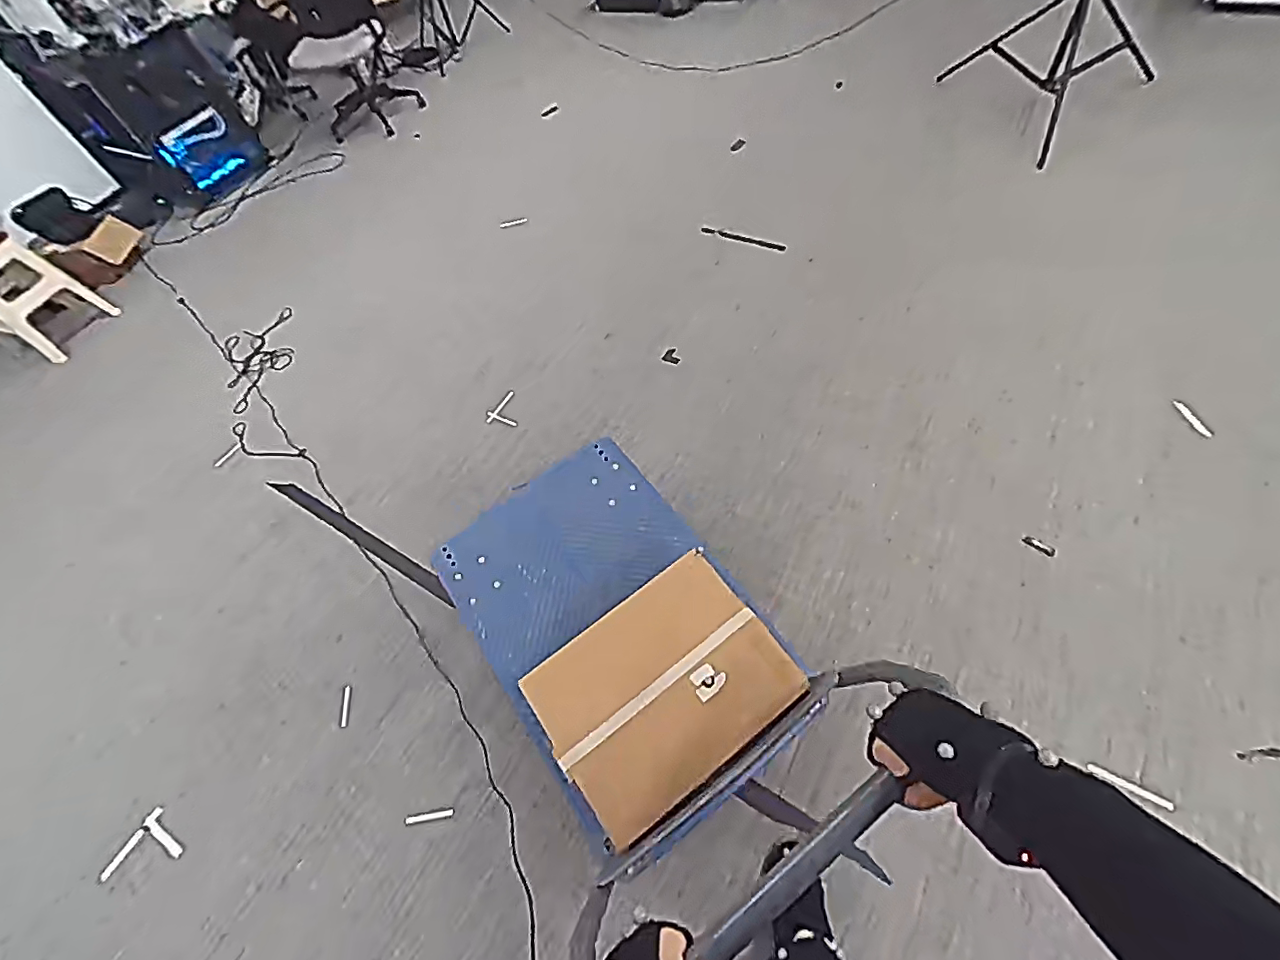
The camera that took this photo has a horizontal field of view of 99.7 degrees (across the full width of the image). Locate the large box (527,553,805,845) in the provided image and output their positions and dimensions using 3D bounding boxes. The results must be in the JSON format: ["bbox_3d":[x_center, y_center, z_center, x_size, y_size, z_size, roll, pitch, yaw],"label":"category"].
[{"bbox_3d":[0.052,0.426,1.078,0.408,0.320,0.320,-35,66,-13],"label":"large box"}]
